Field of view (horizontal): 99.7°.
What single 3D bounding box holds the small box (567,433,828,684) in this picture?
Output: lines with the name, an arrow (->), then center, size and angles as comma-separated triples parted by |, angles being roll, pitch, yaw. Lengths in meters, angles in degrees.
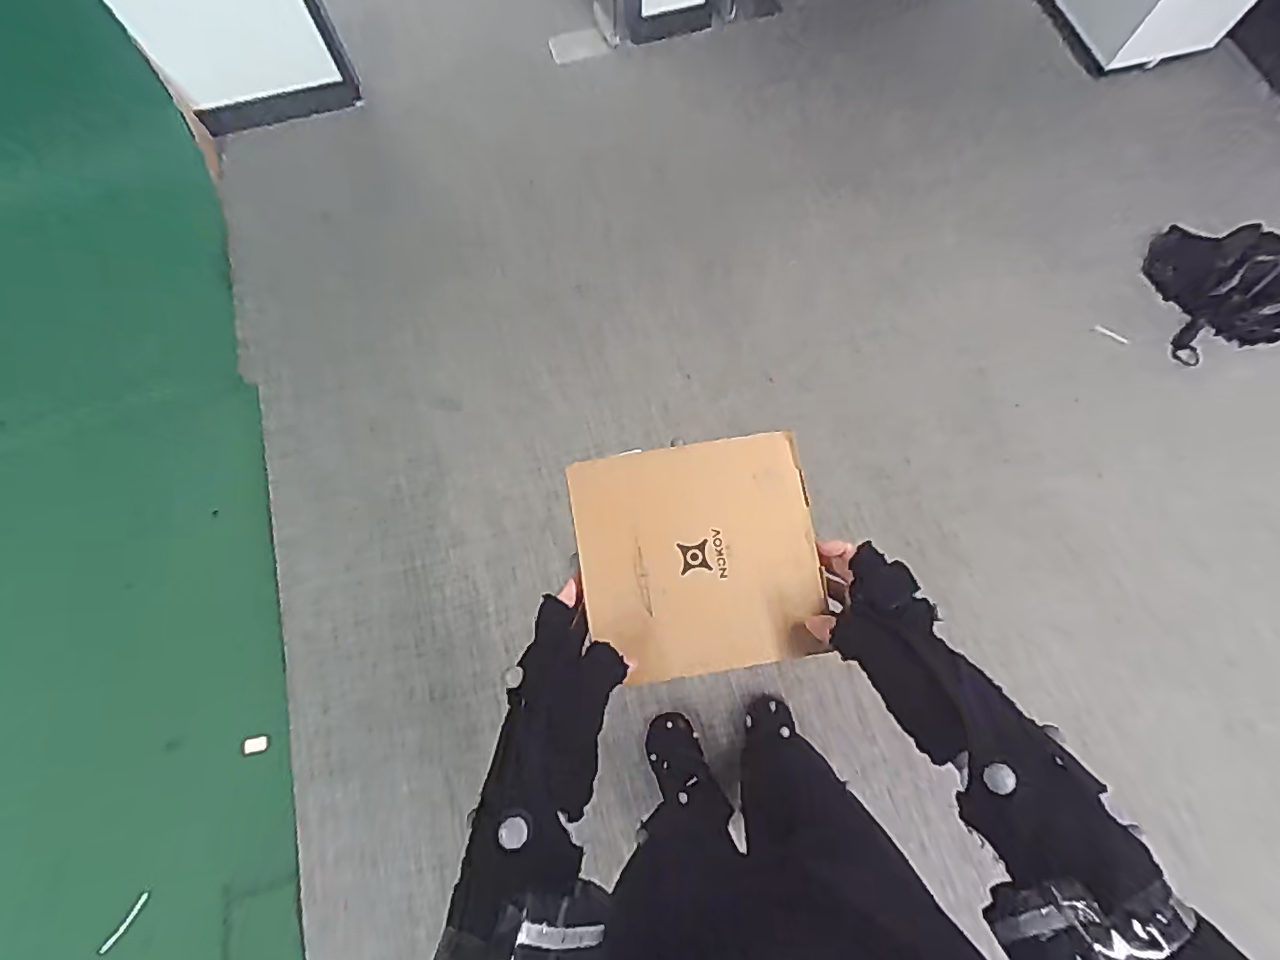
small box -> 0.040, 0.065, 0.482 | 0.179, 0.176, 0.168 | -10, 82, -1
